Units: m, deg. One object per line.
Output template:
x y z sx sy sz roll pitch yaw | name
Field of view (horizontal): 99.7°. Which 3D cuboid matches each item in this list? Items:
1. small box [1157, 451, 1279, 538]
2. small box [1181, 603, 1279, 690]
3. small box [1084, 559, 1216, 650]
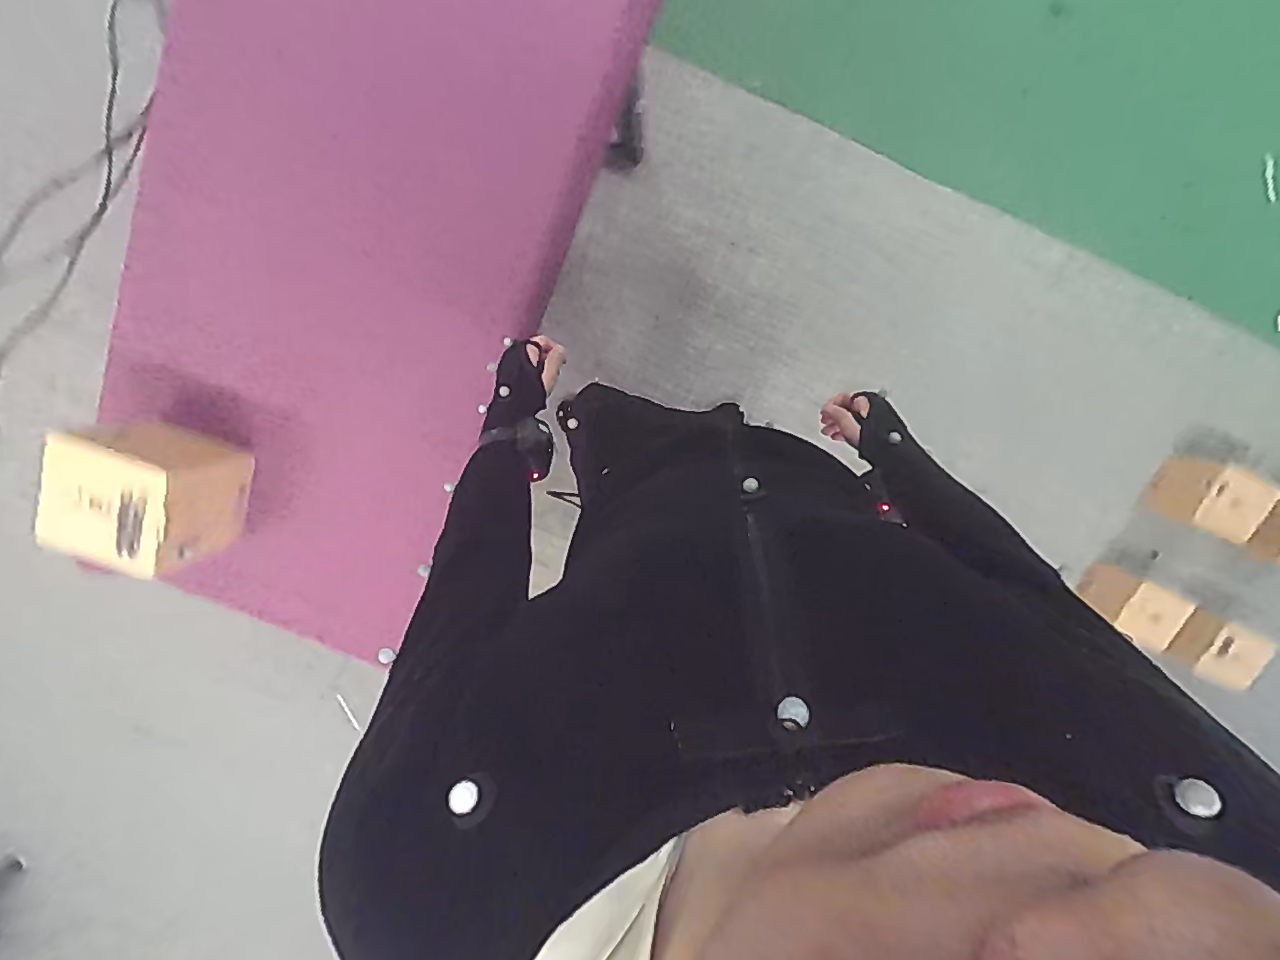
1.601 0.031 1.477 0.179 0.176 0.168 23 102 -3 | small box
1.705 0.464 1.565 0.179 0.176 0.168 25 102 -3 | small box
1.453 0.348 1.553 0.179 0.176 0.168 25 102 -3 | small box
